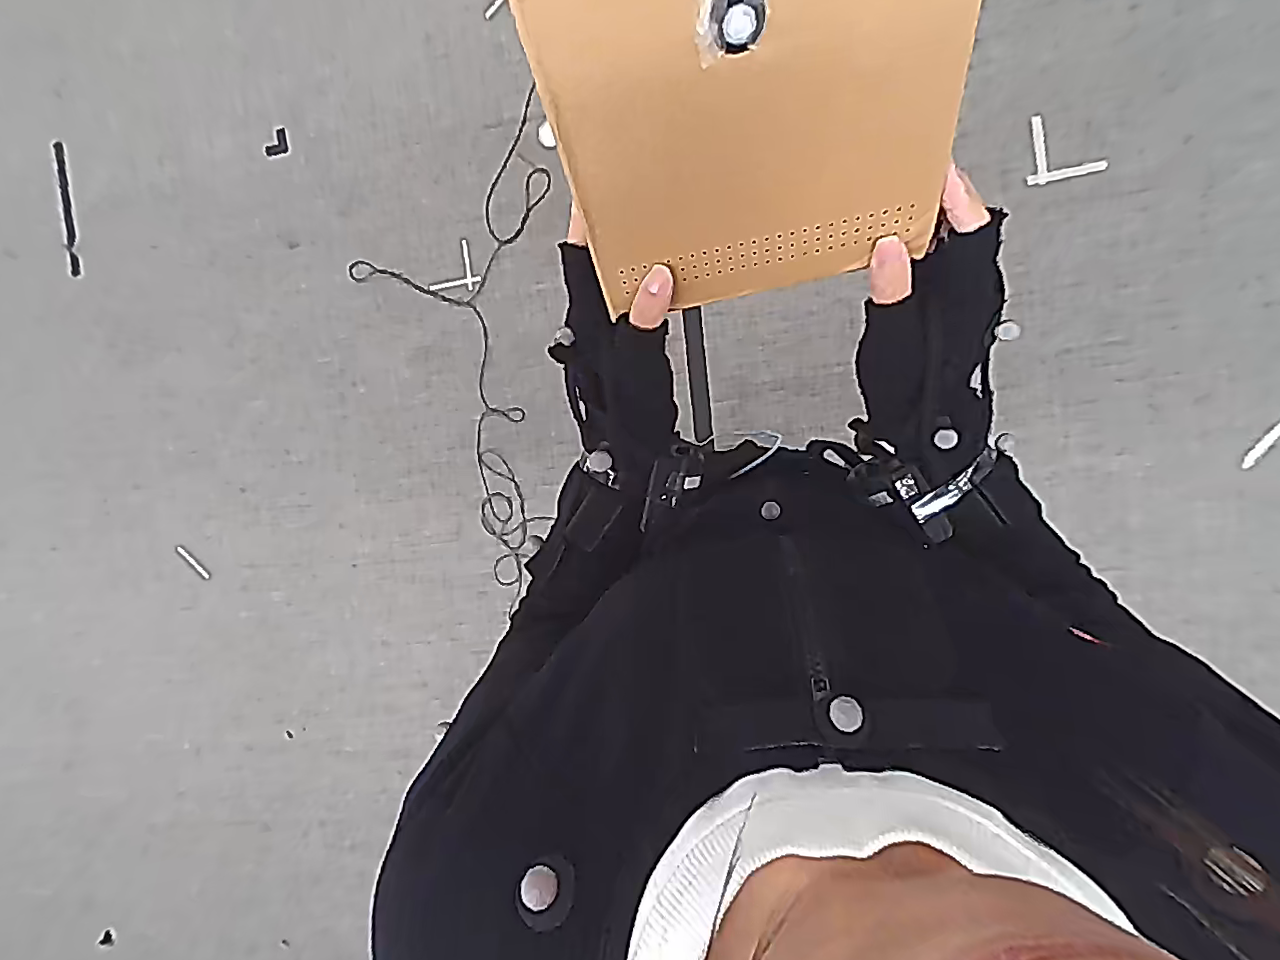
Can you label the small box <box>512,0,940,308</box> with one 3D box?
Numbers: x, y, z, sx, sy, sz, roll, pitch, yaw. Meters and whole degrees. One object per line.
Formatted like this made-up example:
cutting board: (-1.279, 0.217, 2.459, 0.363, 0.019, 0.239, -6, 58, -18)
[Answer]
small box: (0.050, -0.220, 0.303, 0.179, 0.176, 0.168, -8, 52, 11)
